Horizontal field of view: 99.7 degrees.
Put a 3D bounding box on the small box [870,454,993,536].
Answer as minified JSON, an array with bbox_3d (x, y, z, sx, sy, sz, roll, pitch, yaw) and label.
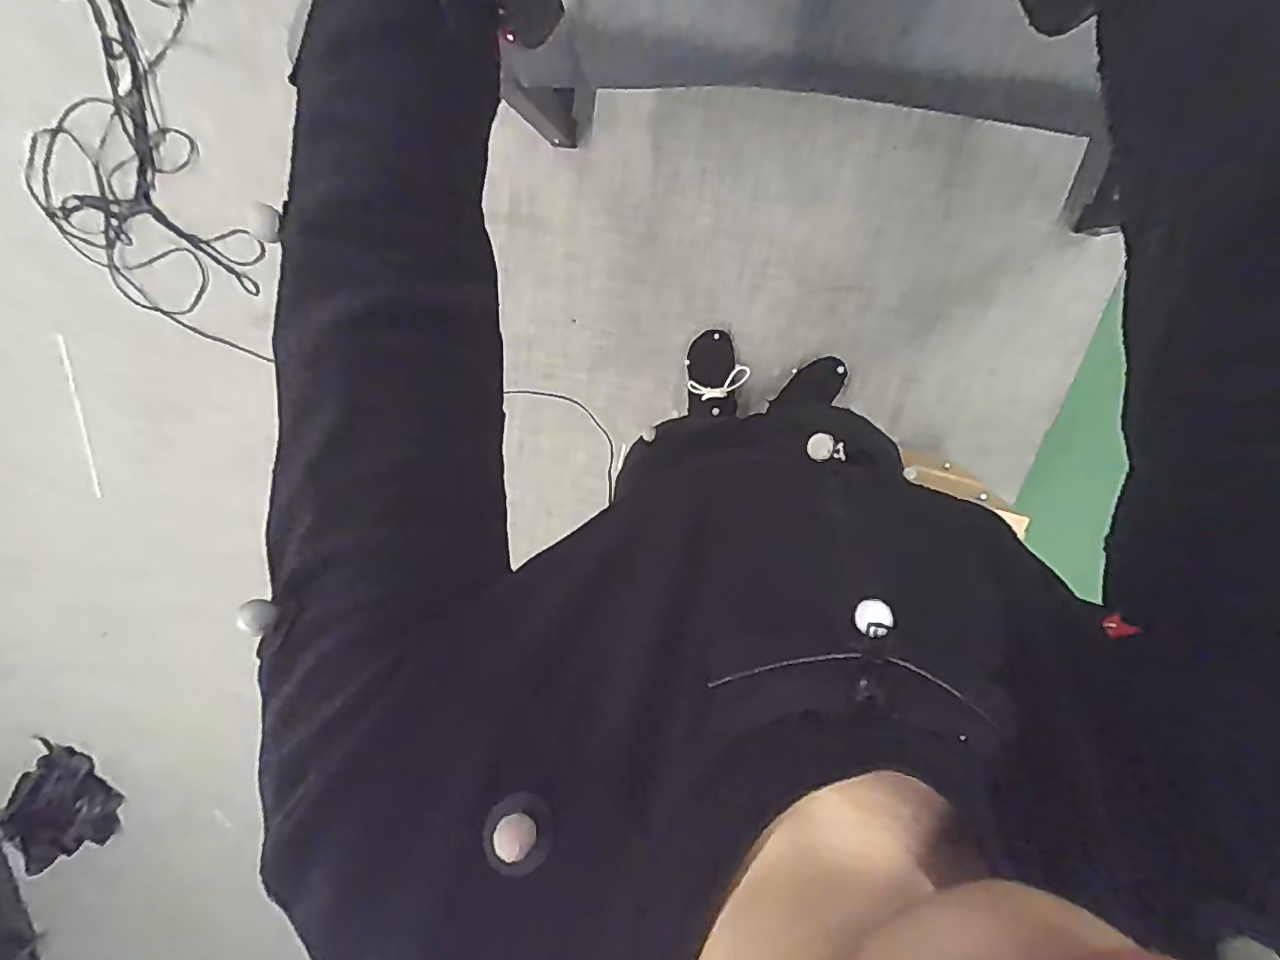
[{"bbox_3d":[0.673,0.049,1.273,0.179,0.176,0.168,15,109,2],"label":"small box"}]

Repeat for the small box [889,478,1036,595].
[{"bbox_3d":[0.654,0.109,1.120,0.179,0.176,0.168,15,109,2],"label":"small box"}]
